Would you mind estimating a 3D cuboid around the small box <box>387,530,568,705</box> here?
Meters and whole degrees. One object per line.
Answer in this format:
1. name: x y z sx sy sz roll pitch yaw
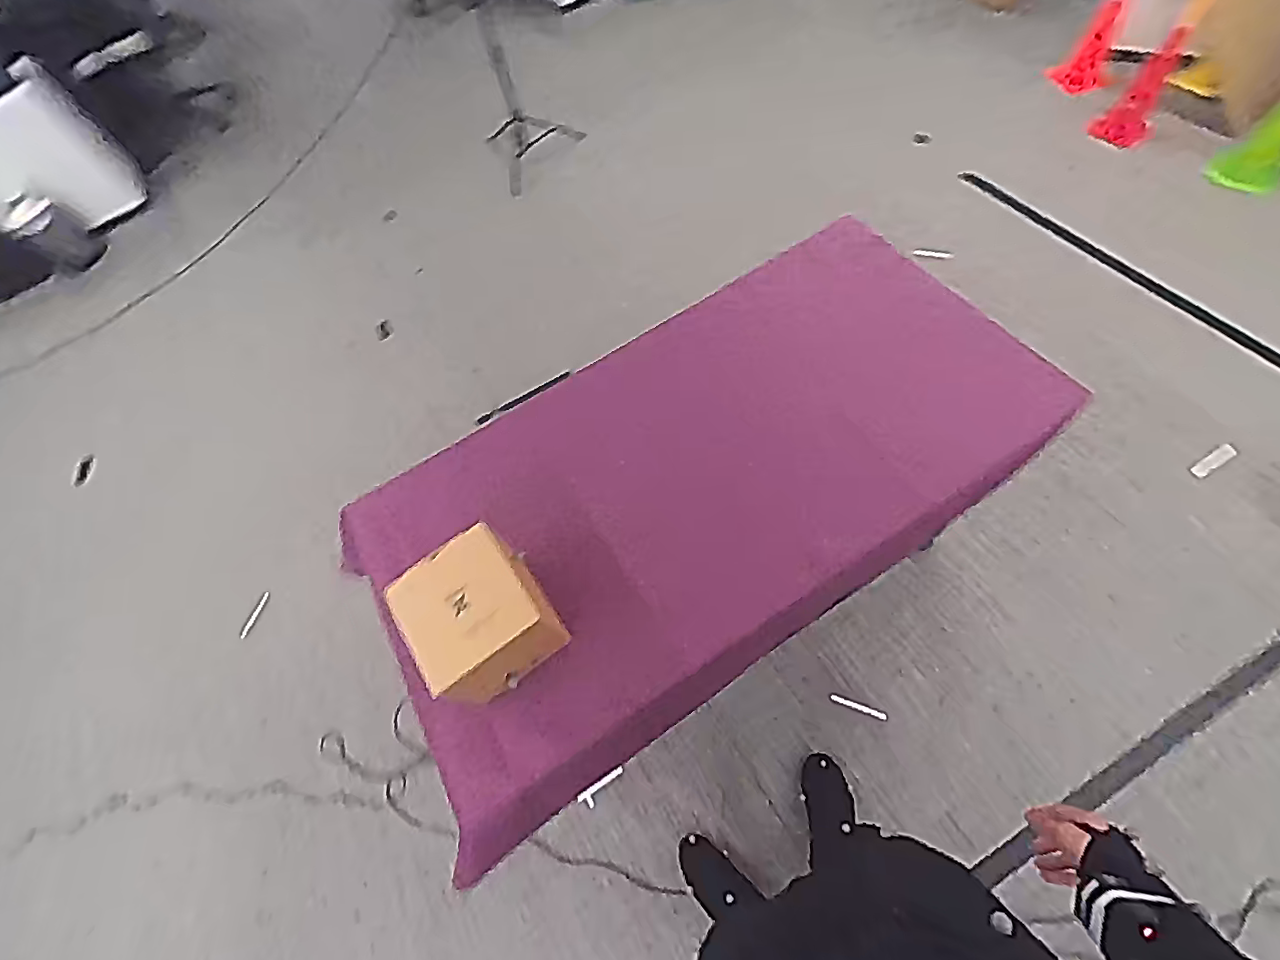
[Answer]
1. small box: -0.234 0.212 0.809 0.168 0.176 0.179 -36 63 -9
